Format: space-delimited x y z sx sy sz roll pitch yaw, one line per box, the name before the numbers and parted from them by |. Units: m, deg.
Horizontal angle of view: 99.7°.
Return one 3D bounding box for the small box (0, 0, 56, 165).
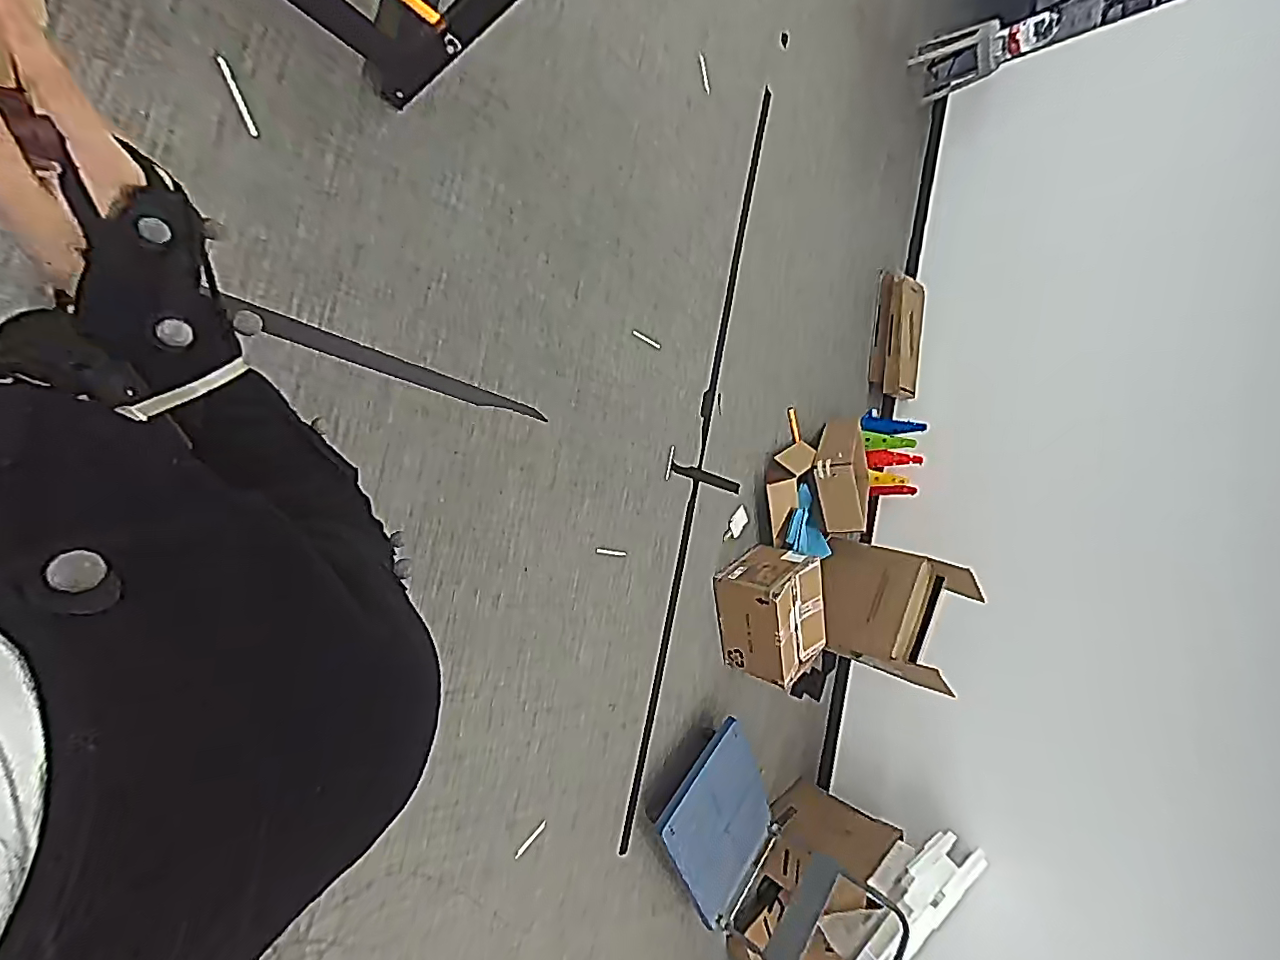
small box | -0.410 -0.263 0.246 0.179 0.176 0.168 -14 109 -40
